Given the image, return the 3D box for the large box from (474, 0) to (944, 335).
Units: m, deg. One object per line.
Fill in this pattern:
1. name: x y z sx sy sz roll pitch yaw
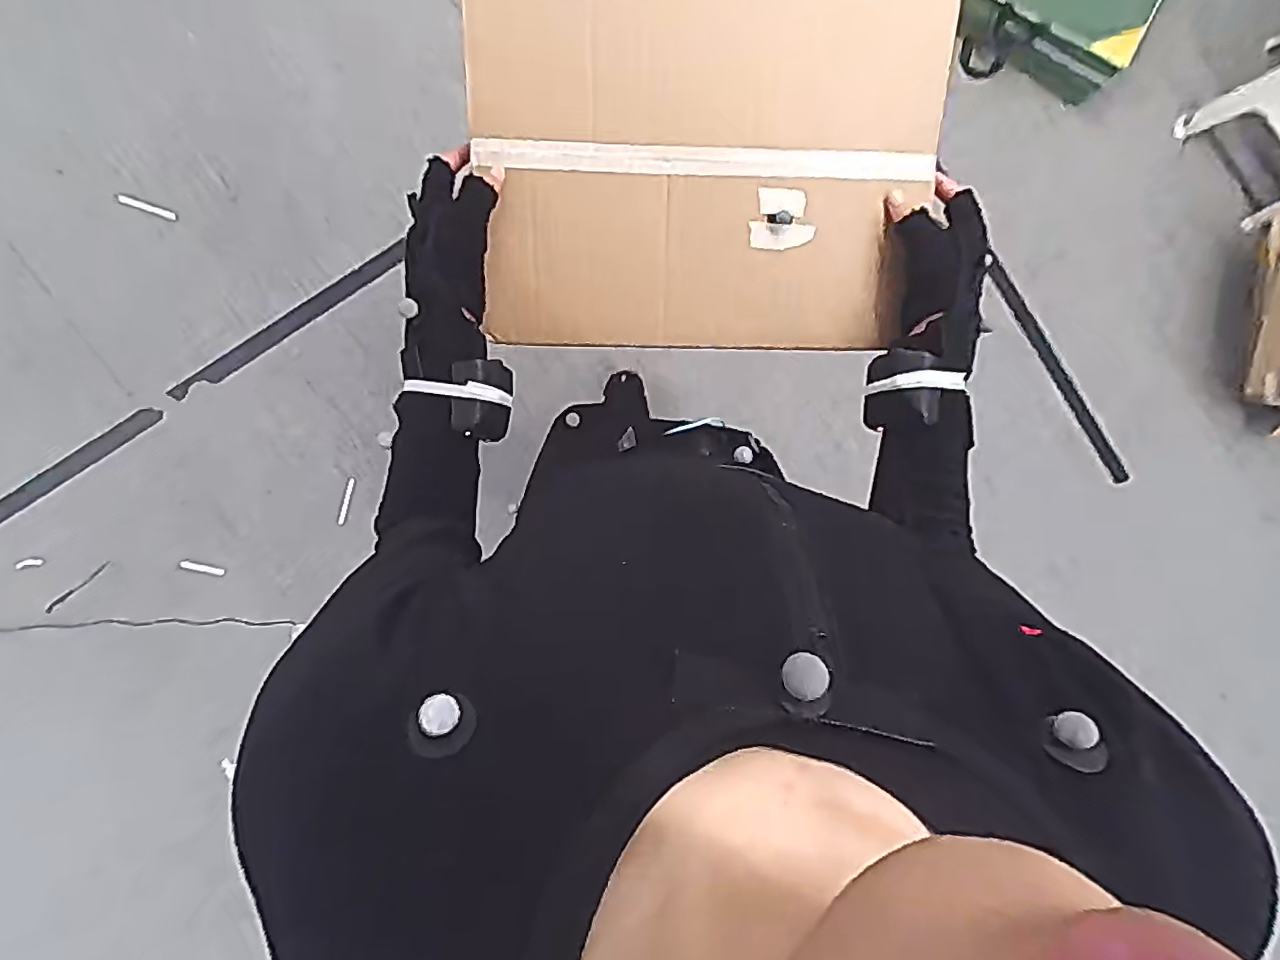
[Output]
1. large box: 0.049 -0.334 0.625 0.408 0.320 0.320 0 108 -5
